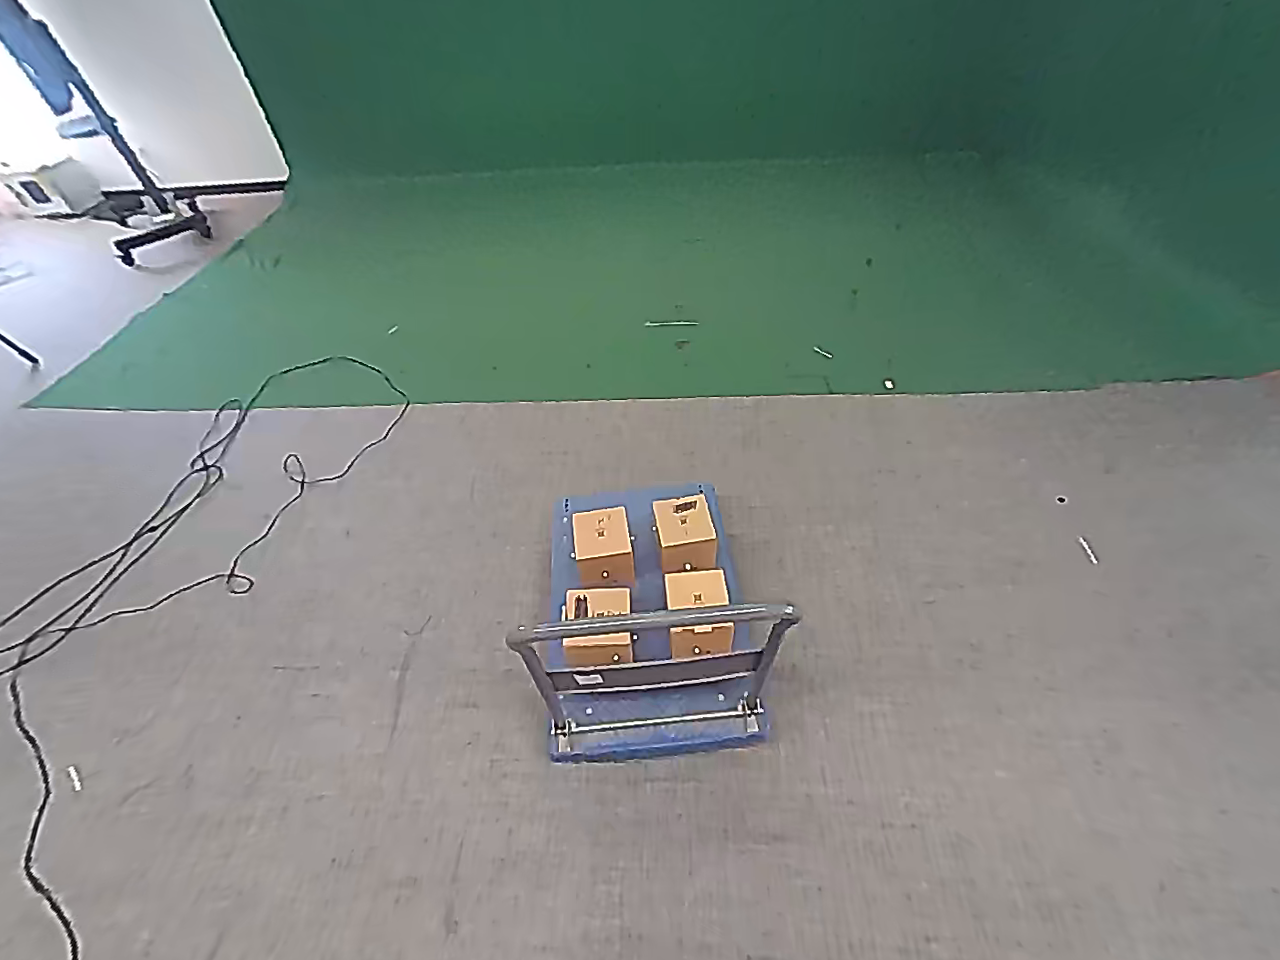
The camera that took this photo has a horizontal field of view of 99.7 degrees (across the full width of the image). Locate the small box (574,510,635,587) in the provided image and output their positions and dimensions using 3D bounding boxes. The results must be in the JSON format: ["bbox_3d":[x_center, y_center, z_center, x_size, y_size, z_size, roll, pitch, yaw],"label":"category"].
[{"bbox_3d":[-0.111,0.220,1.690,0.168,0.176,0.179,-8,48,-4],"label":"small box"}]

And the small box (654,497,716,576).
[{"bbox_3d":[0.137,0.182,1.705,0.168,0.176,0.179,-9,49,-2],"label":"small box"}]

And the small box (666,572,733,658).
[{"bbox_3d":[0.161,0.381,1.524,0.168,0.176,0.179,-5,48,-1],"label":"small box"}]
